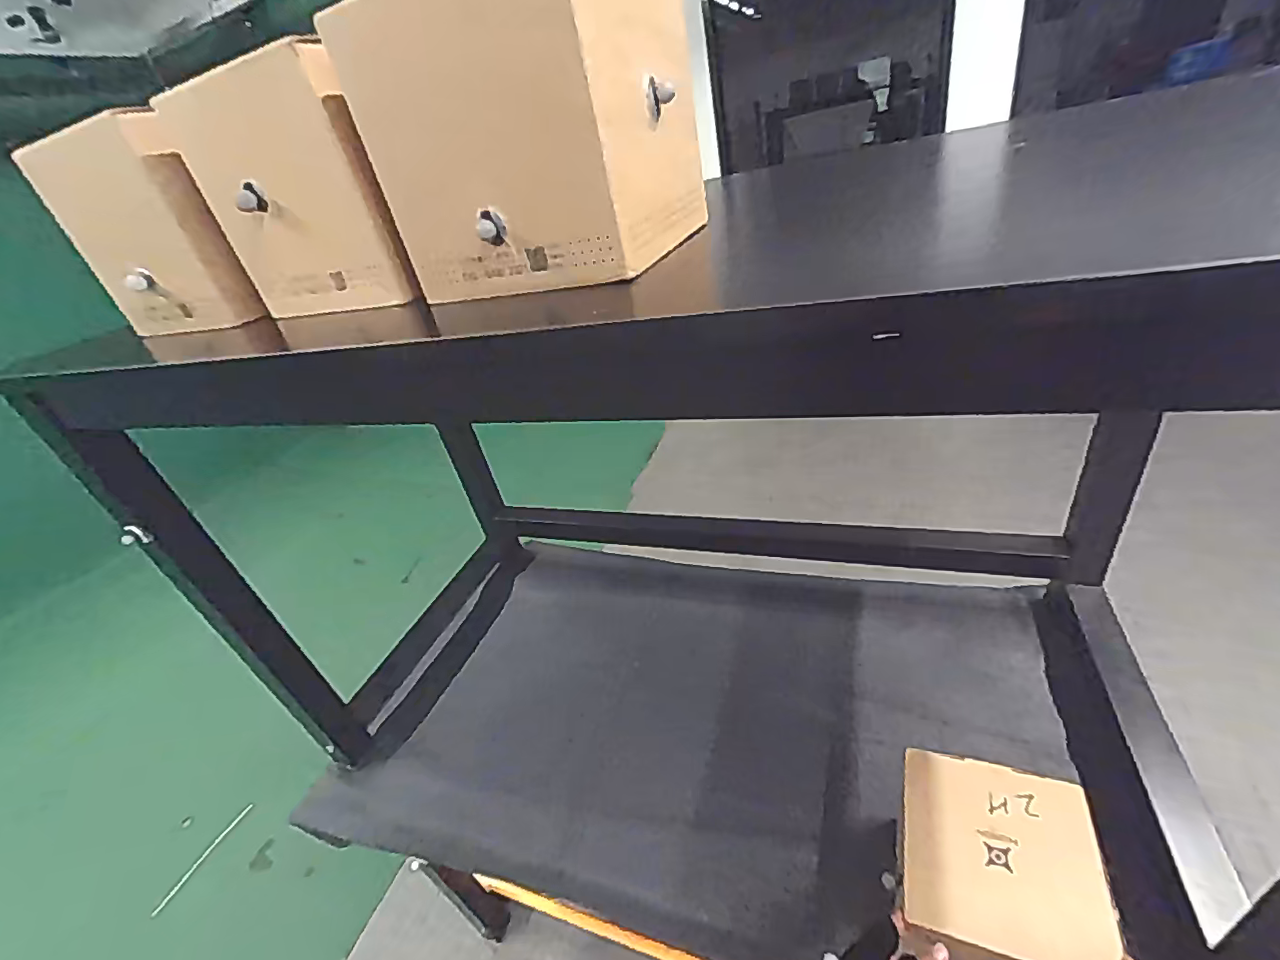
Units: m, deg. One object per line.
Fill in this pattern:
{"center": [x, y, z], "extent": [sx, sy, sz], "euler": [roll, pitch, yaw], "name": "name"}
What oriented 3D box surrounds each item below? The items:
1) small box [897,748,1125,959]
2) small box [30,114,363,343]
{"center": [0.366, 0.425, 0.564], "extent": [0.168, 0.176, 0.179], "euler": [3, 35, 24], "name": "small box"}
{"center": [-0.417, -0.250, 0.547], "extent": [0.168, 0.176, 0.179], "euler": [3, 36, 24], "name": "small box"}
